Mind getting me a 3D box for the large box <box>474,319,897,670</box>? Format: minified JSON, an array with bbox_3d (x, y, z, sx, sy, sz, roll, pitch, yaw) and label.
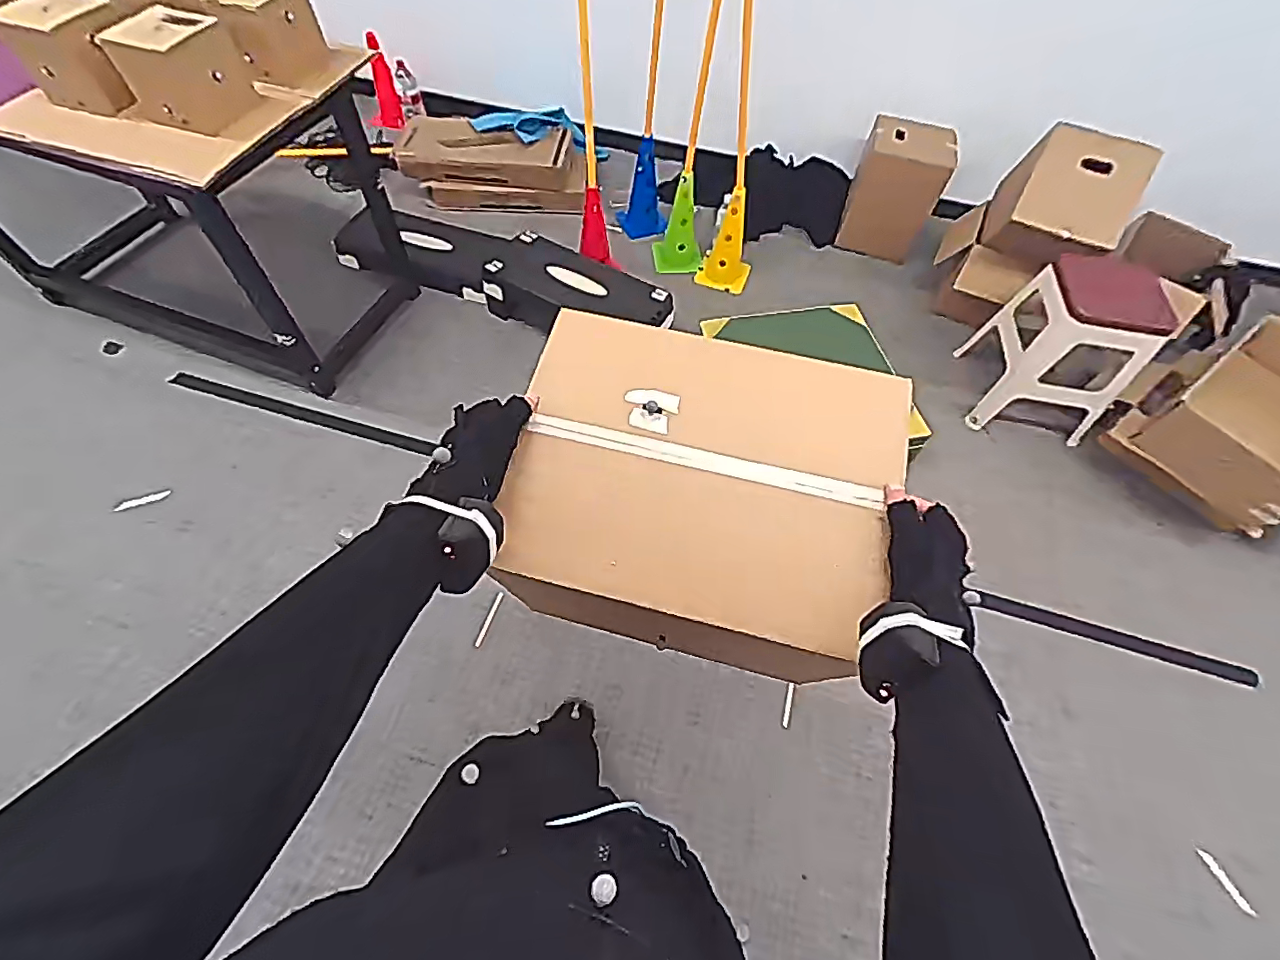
[{"bbox_3d":[0.067,0.040,0.711,0.408,0.320,0.320,14,67,7],"label":"large box"}]
